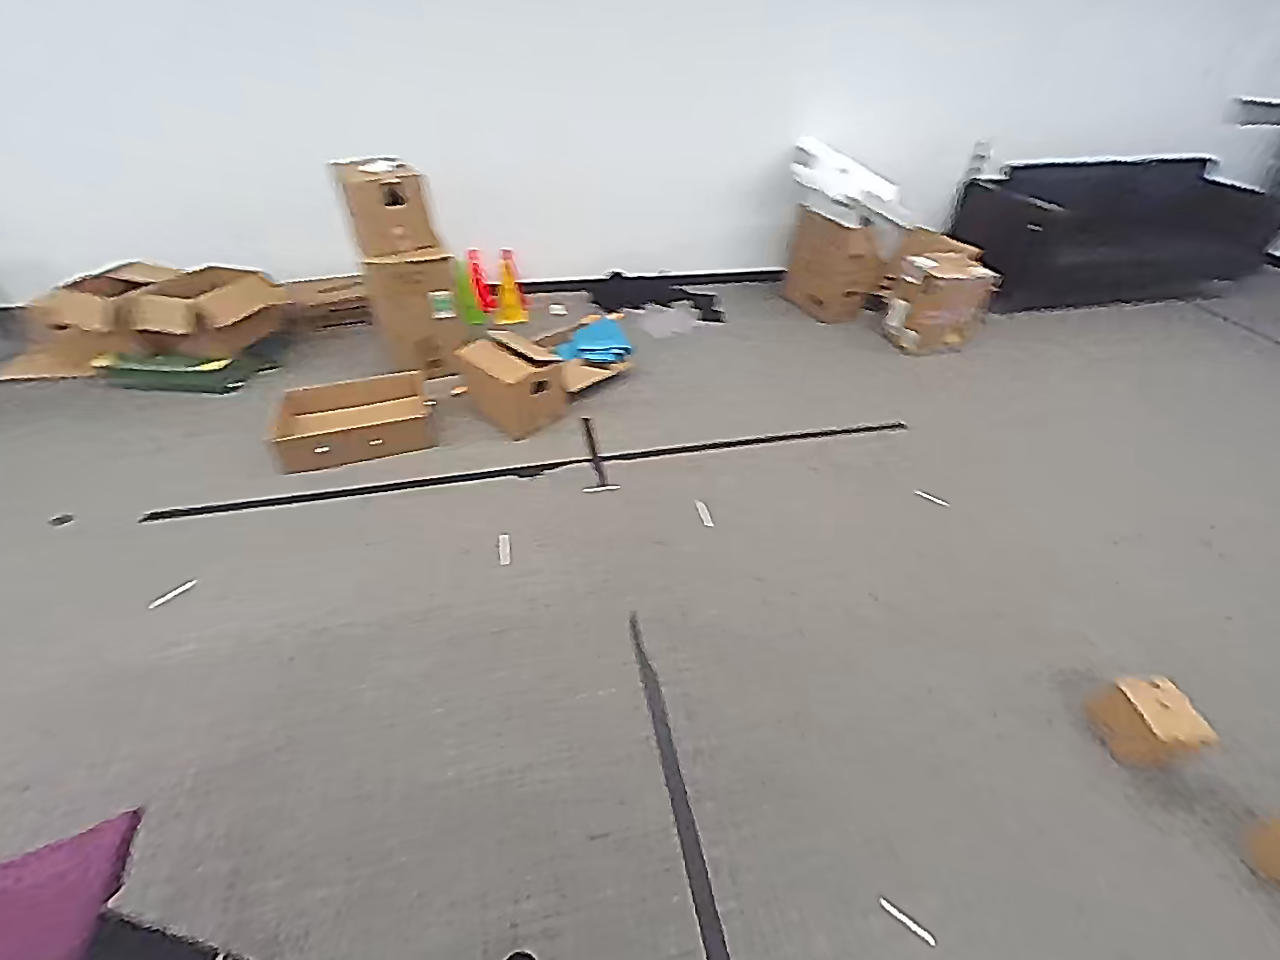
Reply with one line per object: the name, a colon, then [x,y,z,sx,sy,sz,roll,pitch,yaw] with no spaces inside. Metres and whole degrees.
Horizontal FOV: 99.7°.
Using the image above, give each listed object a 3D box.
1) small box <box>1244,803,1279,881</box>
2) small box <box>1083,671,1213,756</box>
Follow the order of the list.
small box: [1.625,0.883,1.292,0.179,0.176,0.168,-22,46,-25]
small box: [1.432,0.668,1.540,0.168,0.176,0.179,1,40,-2]
